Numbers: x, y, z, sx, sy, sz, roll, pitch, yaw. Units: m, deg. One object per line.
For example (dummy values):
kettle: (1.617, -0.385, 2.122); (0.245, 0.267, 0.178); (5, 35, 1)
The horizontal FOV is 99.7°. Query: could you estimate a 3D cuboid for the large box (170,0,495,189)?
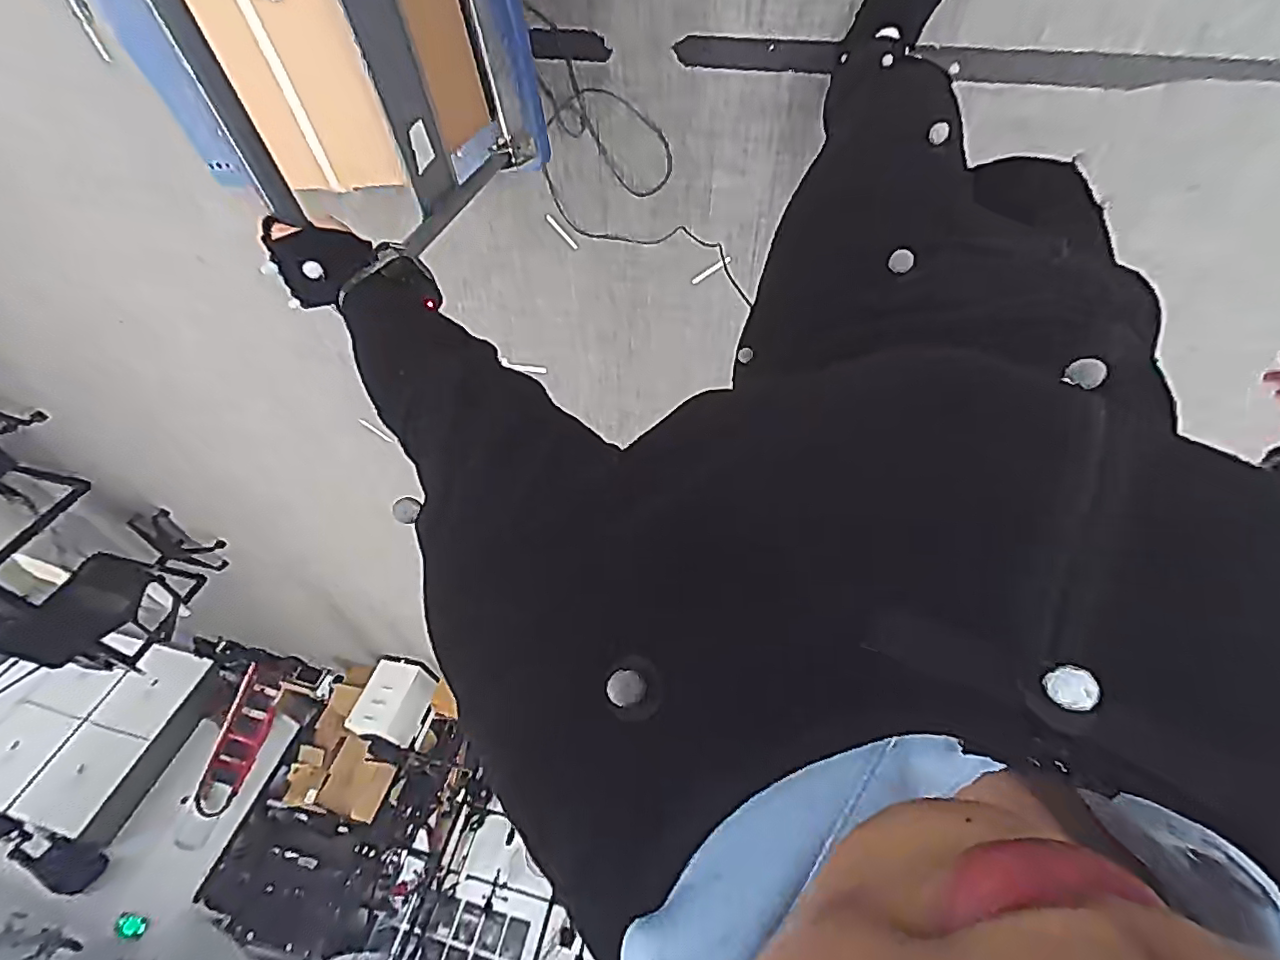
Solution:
large box: (-0.490, -0.745, 0.879); (0.320, 0.320, 0.408); (5, 138, 13)
